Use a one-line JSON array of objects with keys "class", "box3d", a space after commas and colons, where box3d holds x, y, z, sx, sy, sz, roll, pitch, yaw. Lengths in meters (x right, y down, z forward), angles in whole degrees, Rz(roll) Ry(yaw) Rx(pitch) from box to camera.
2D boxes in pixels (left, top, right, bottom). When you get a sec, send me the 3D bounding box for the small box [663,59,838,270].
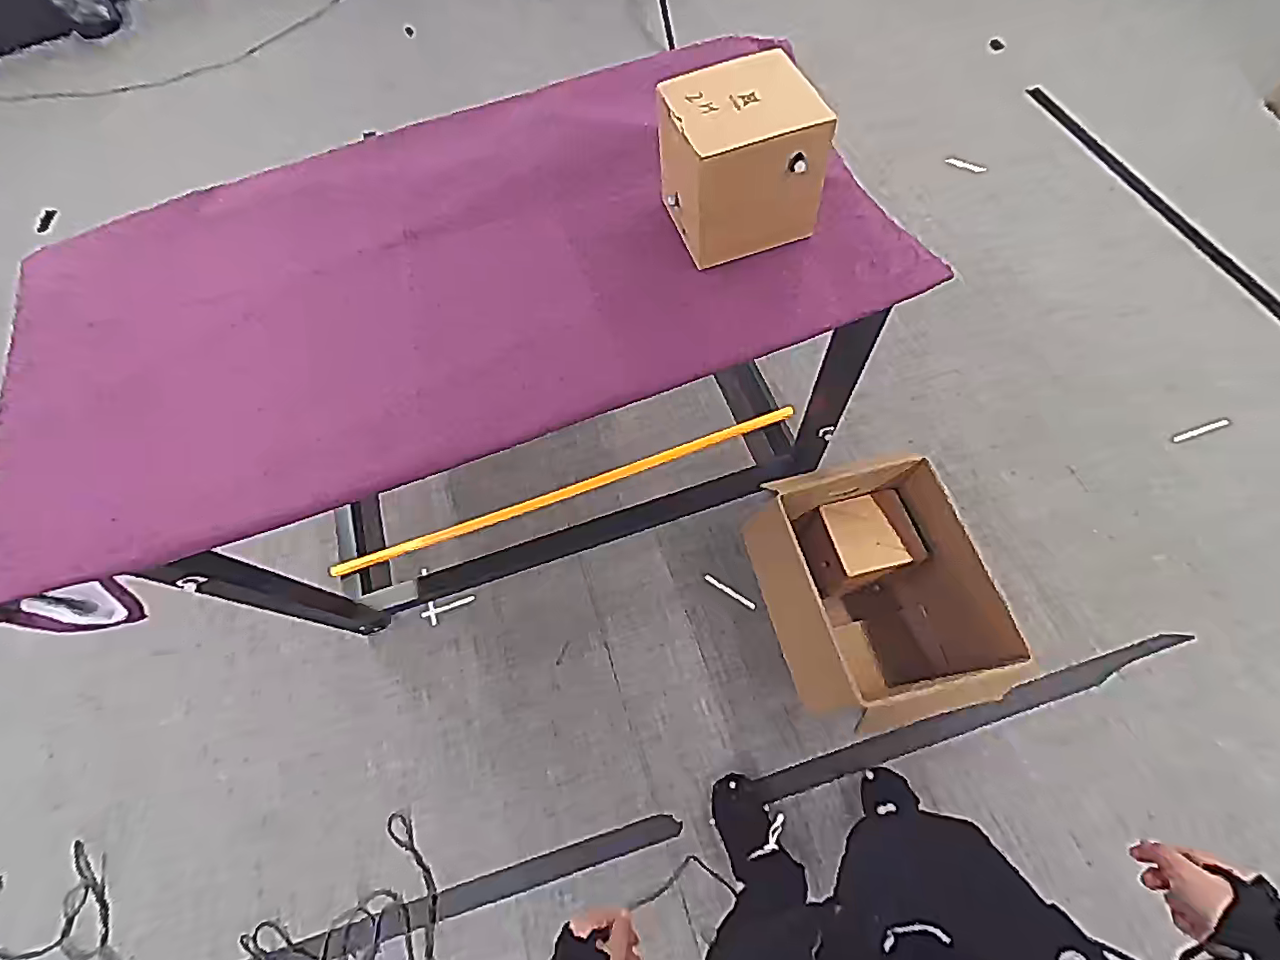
[{"class": "small box", "box3d": [0.139, -0.424, 0.743, 0.179, 0.176, 0.168, -18, 63, -3]}]
